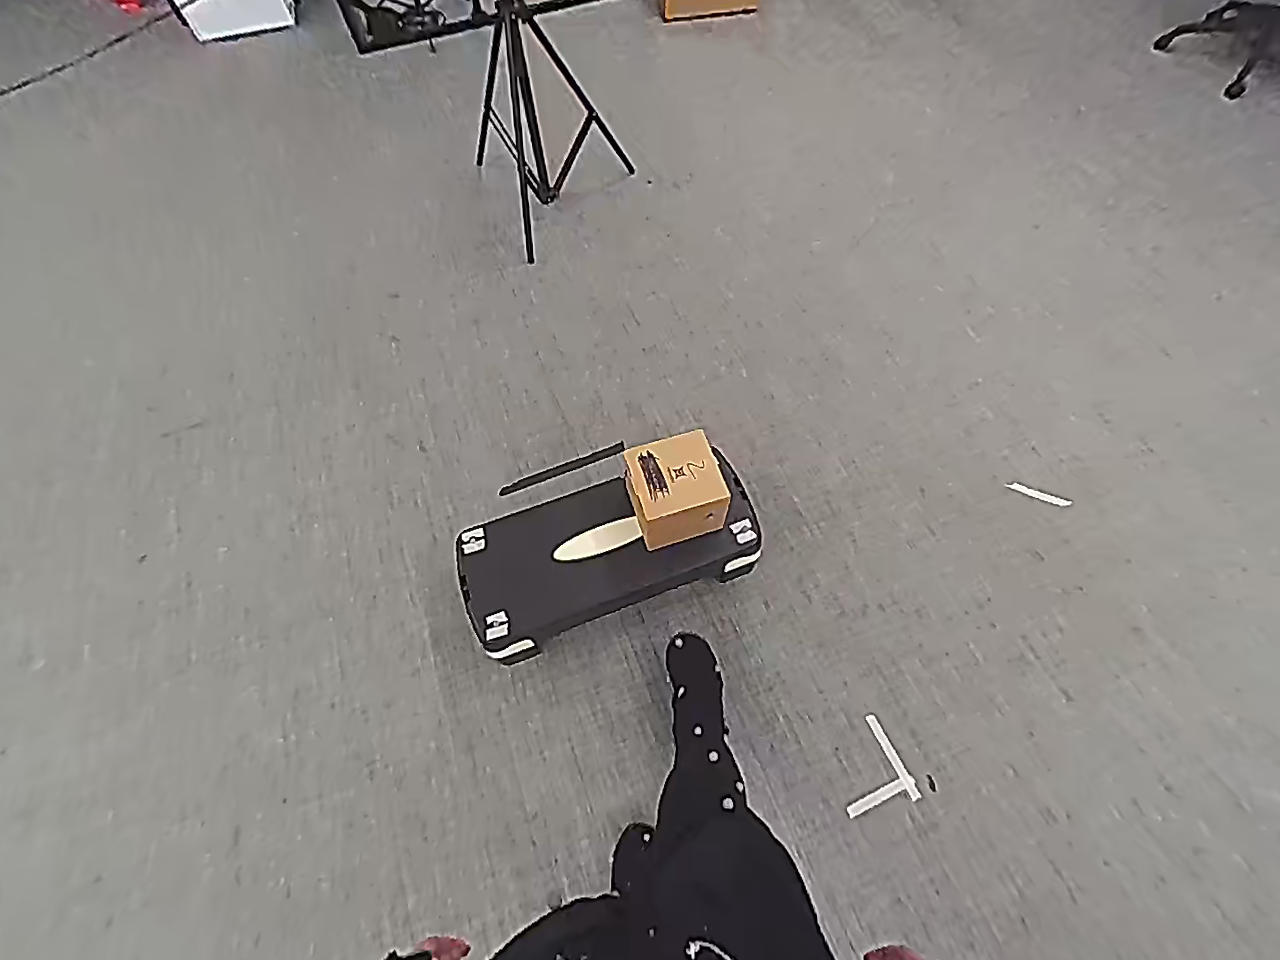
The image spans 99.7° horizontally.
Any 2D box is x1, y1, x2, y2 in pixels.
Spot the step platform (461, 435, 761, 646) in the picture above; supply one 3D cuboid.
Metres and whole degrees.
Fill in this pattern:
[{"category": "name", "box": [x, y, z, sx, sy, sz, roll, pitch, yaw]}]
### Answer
[{"category": "step platform", "box": [-0.064, 0.137, 1.286, 0.684, 0.204, 0.286, -20, 64, -7]}]
